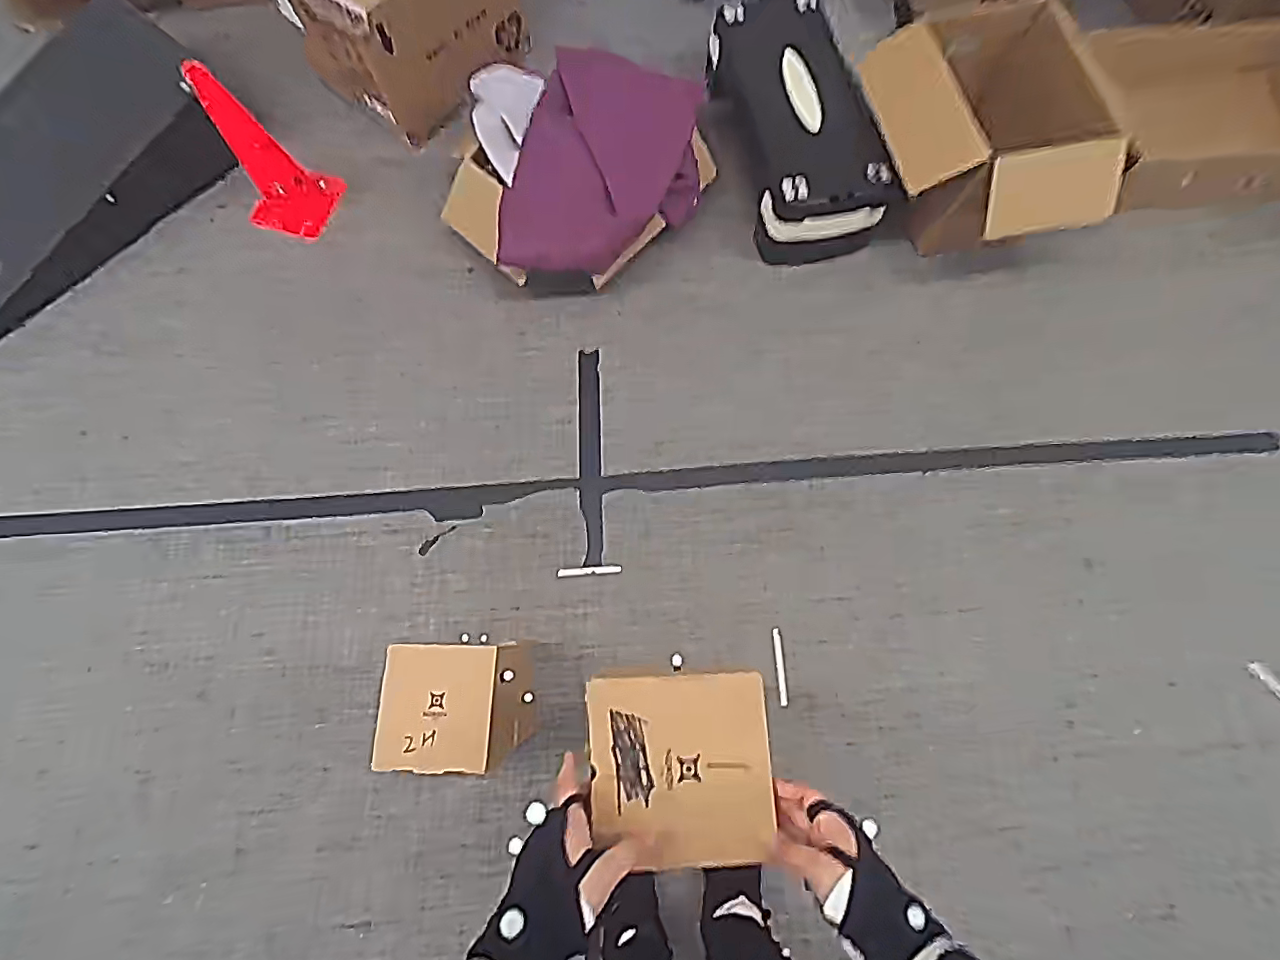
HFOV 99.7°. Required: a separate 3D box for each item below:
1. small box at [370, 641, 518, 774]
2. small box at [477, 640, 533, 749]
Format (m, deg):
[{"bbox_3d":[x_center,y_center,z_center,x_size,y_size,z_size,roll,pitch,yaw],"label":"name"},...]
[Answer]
[{"bbox_3d":[-0.297,0.350,0.860,0.168,0.176,0.179,1,74,1],"label":"small box"},{"bbox_3d":[-0.298,0.399,1.019,0.168,0.176,0.179,-4,75,-1],"label":"small box"}]
